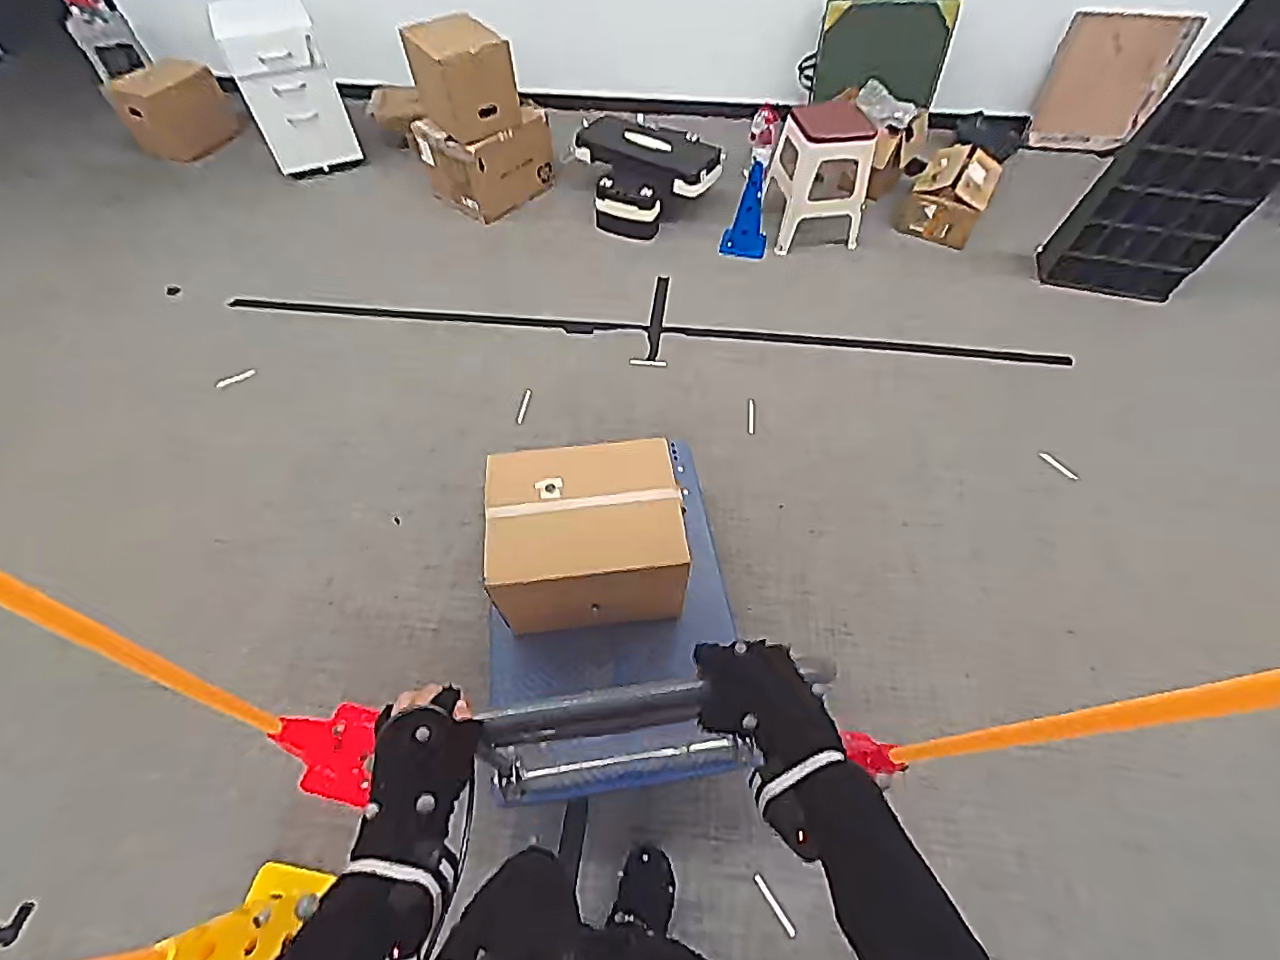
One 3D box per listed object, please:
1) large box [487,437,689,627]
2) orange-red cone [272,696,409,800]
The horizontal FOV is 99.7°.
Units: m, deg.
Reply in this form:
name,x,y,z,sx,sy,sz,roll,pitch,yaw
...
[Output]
name,x,y,z,sx,sy,sz,roll,pitch,yaw
large box,-0.117,0.130,1.260,0.408,0.320,0.320,-6,57,-4
orange-red cone,-0.675,0.539,1.154,0.198,0.360,0.199,13,55,7
